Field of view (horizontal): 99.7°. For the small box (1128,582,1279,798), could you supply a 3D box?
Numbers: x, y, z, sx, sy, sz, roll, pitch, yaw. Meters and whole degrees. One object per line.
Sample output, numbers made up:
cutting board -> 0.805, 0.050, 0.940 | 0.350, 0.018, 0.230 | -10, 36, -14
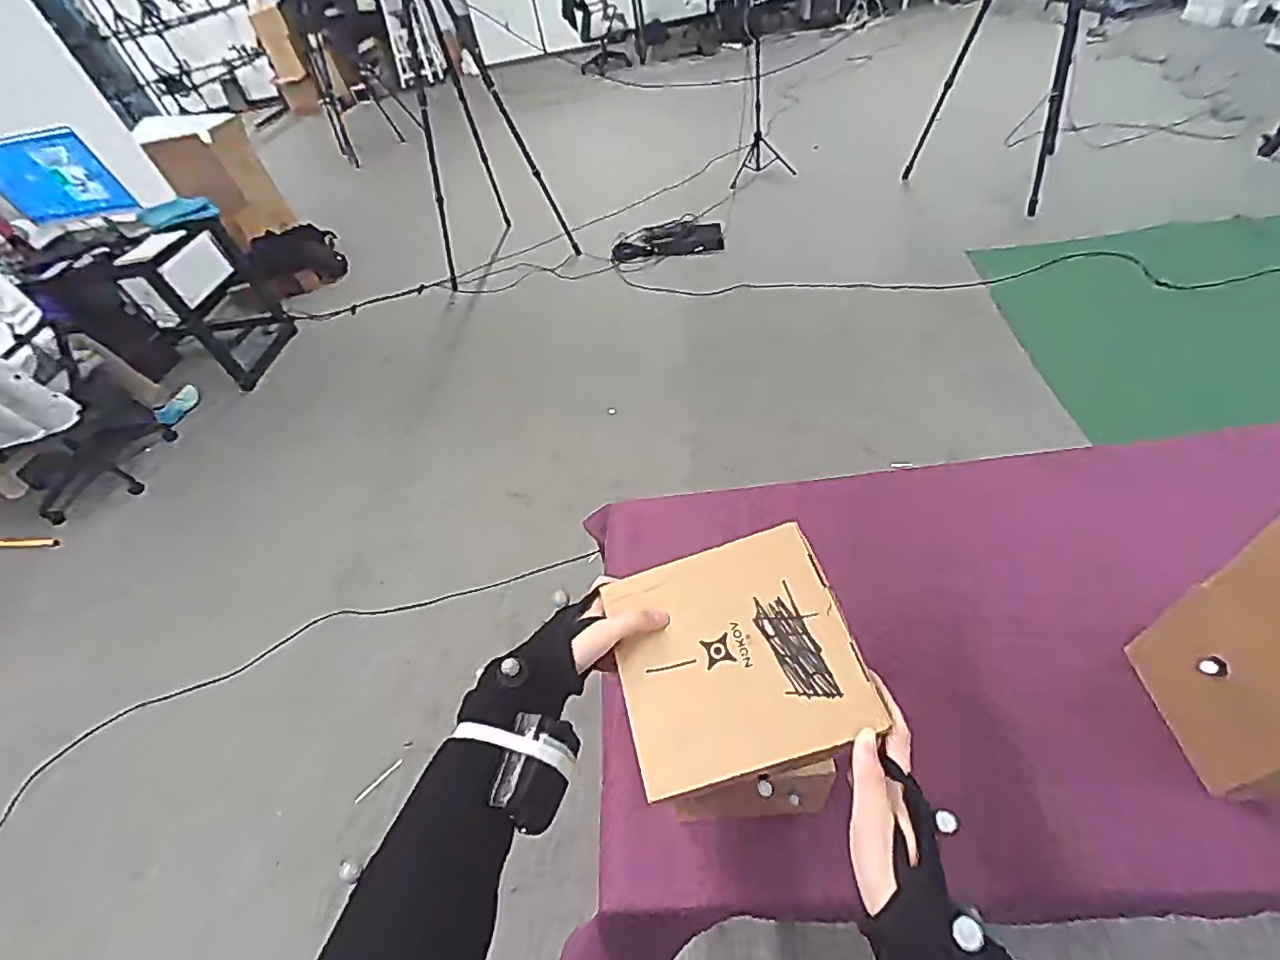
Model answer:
small box -> 0.689, 0.224, 0.579 | 0.168, 0.176, 0.179 | -5, 48, 9
